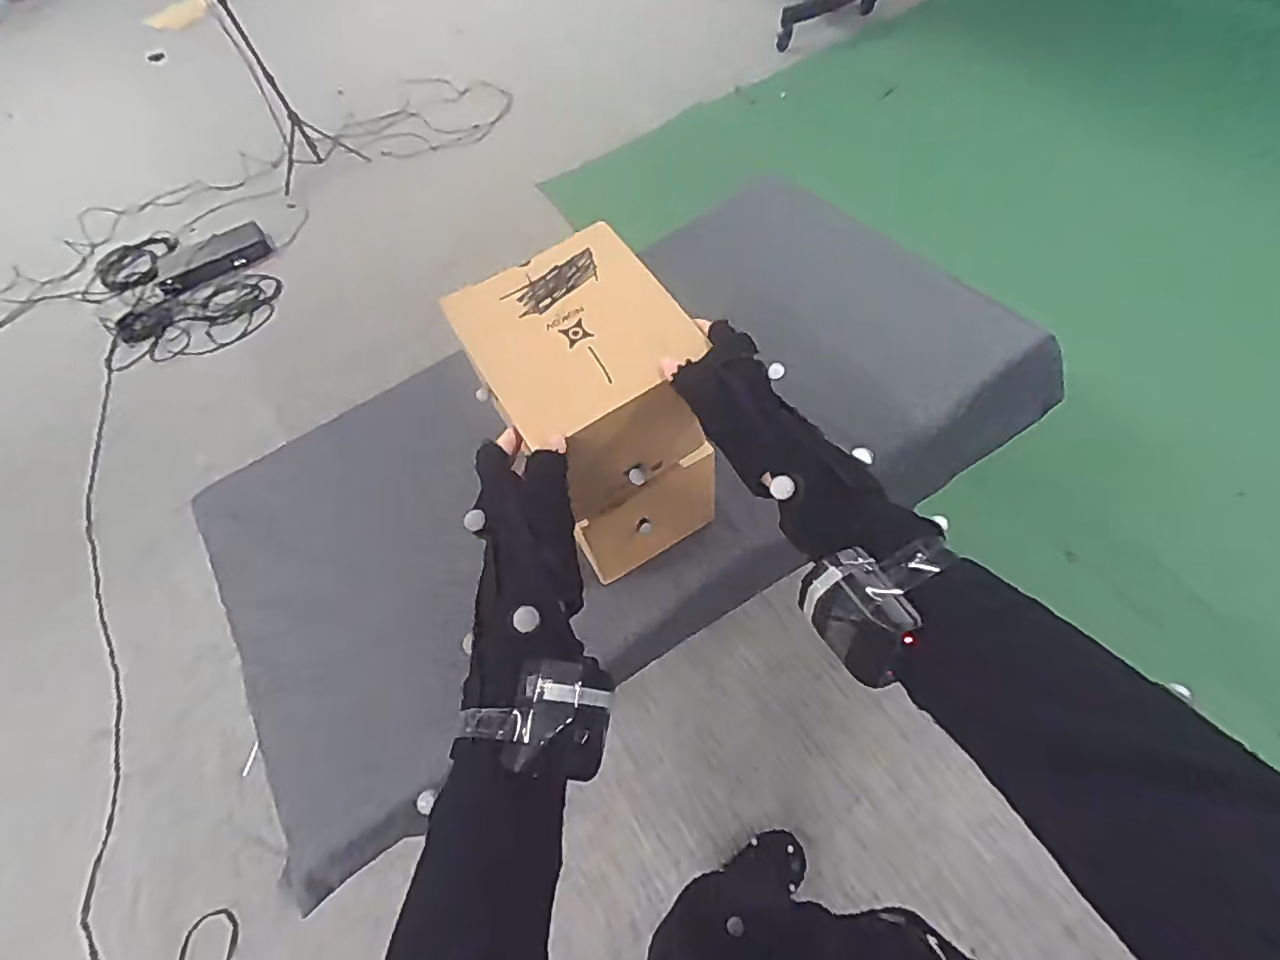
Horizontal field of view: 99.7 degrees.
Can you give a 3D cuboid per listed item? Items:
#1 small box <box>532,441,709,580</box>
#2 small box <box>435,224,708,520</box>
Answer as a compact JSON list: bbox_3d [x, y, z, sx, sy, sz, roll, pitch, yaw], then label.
[{"bbox_3d":[-0.025,-0.001,0.689,0.179,0.176,0.168,-31,59,-10],"label":"small box"},{"bbox_3d":[-0.054,-0.093,0.511,0.168,0.176,0.179,-35,66,-11],"label":"small box"}]
